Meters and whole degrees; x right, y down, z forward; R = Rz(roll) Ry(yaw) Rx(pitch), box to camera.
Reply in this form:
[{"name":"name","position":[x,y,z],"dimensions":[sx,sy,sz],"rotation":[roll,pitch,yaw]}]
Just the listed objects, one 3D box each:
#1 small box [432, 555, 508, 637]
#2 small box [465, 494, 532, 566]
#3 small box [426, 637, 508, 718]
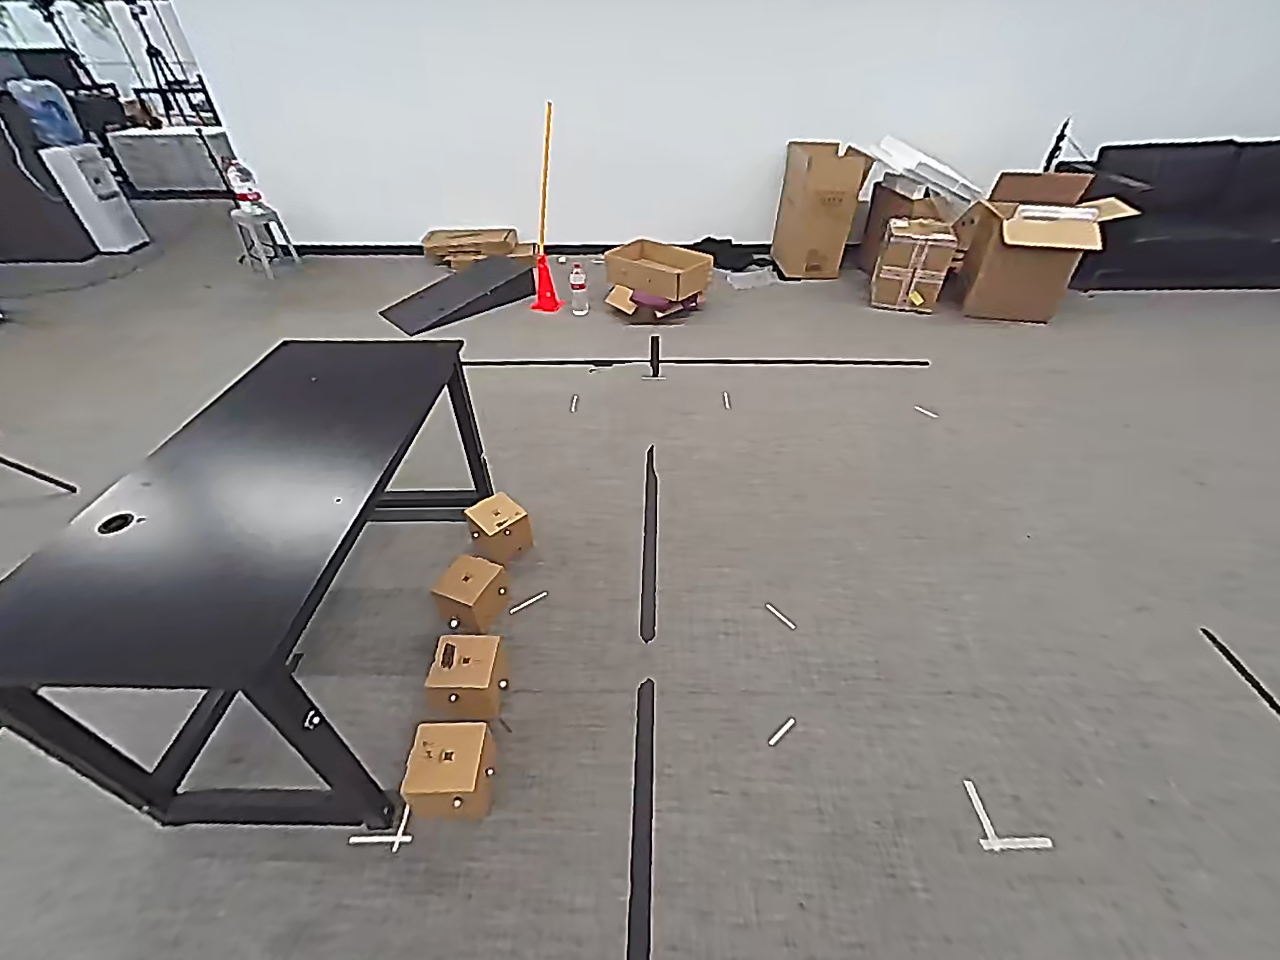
[{"name":"small box","position":[-0.556,0.386,1.800],"dimensions":[0.168,0.176,0.179],"rotation":[14,43,17]},{"name":"small box","position":[-0.527,0.189,2.028],"dimensions":[0.179,0.176,0.168],"rotation":[32,50,33]},{"name":"small box","position":[-0.495,0.576,1.573],"dimensions":[0.179,0.176,0.168],"rotation":[1,40,0]}]
